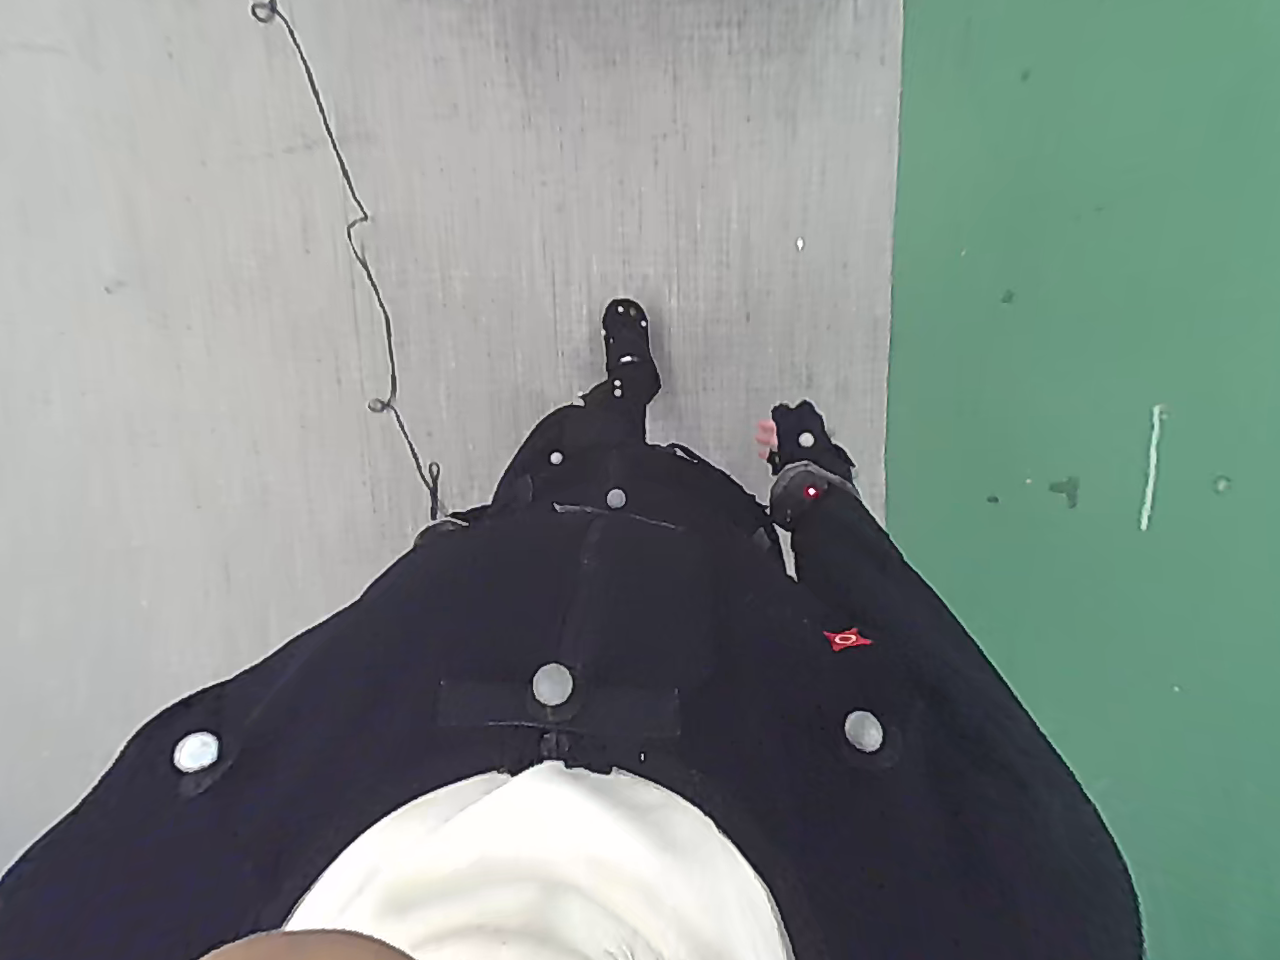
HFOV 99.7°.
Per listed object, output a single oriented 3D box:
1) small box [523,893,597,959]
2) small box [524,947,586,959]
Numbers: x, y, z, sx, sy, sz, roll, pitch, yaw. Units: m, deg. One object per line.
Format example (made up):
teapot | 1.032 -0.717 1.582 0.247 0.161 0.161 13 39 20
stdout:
small box | -0.219 1.293 1.501 0.179 0.176 0.168 3 97 1
small box | -0.222 1.319 1.340 0.168 0.176 0.179 2 96 -1
